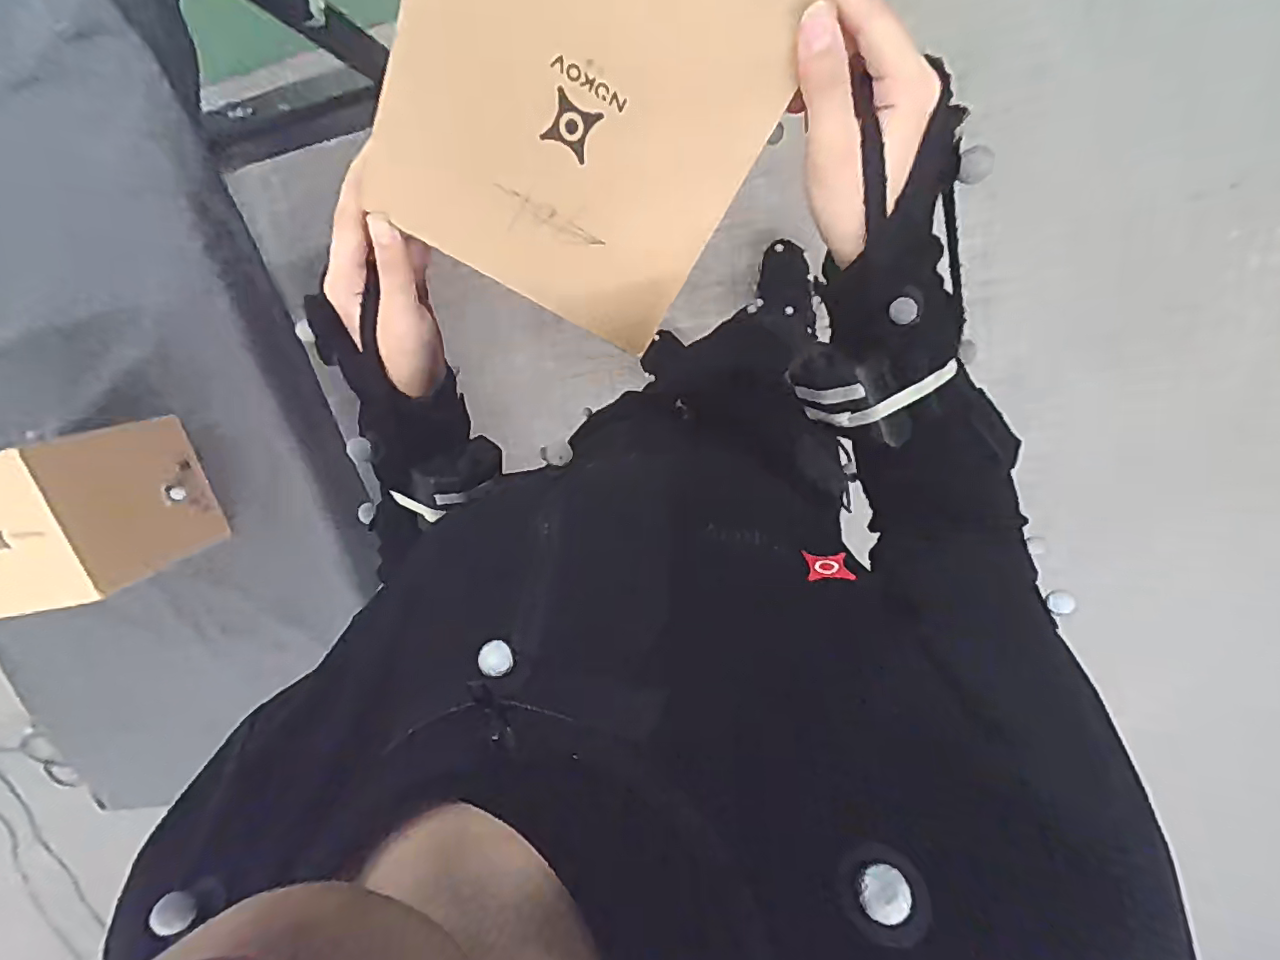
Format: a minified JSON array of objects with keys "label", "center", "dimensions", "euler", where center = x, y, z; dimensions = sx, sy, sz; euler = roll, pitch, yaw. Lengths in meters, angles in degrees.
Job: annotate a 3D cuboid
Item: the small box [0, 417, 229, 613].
[{"label":"small box","center":[-0.638,0.033,0.622],"dimensions":[0.179,0.176,0.168],"euler":[-10,107,9]}]
